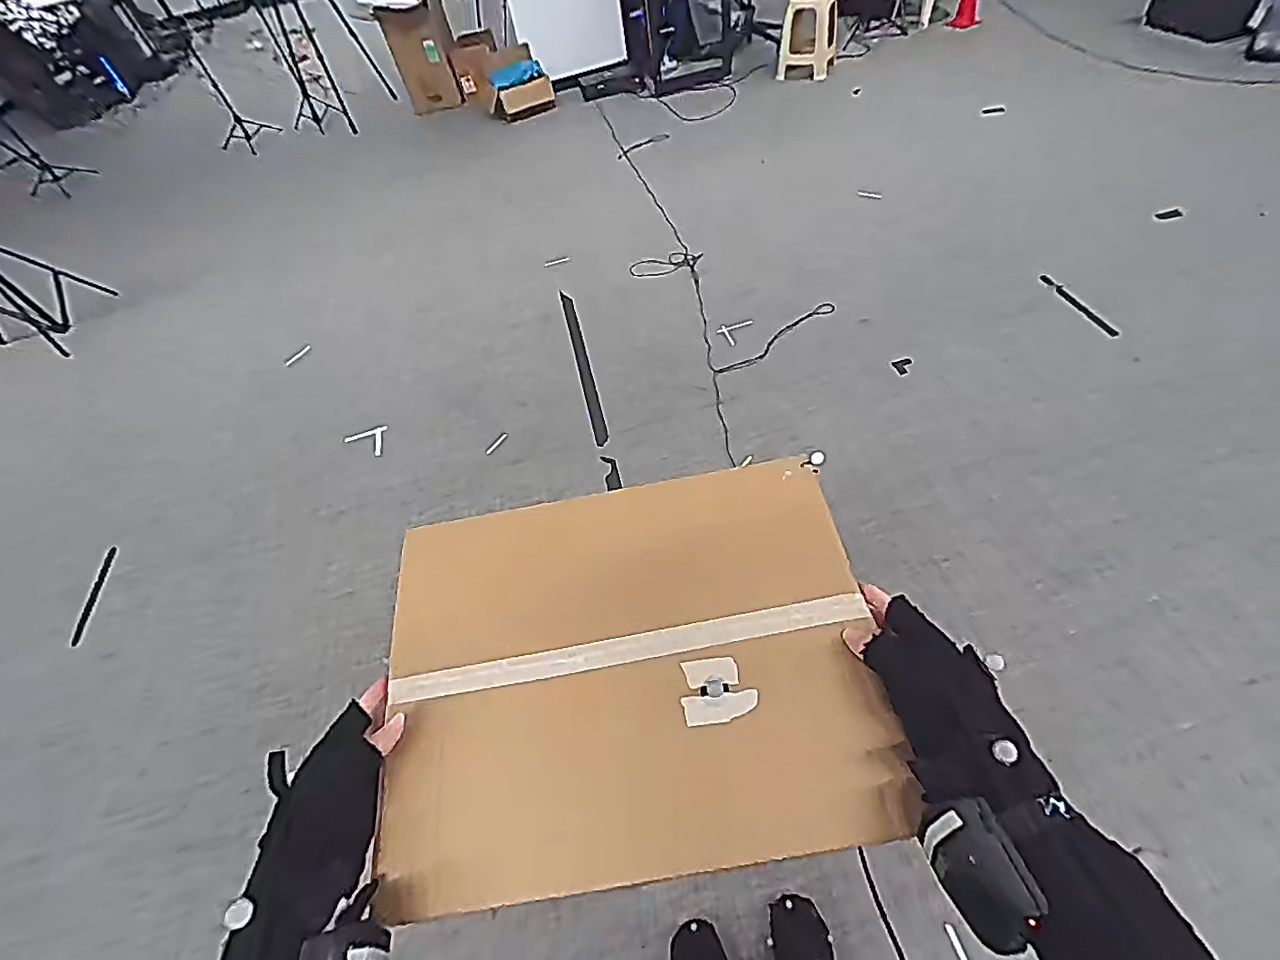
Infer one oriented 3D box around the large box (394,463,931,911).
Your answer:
[{"bbox_3d":[0.008,0.225,0.591,0.408,0.320,0.320,-10,58,0],"label":"large box"}]
